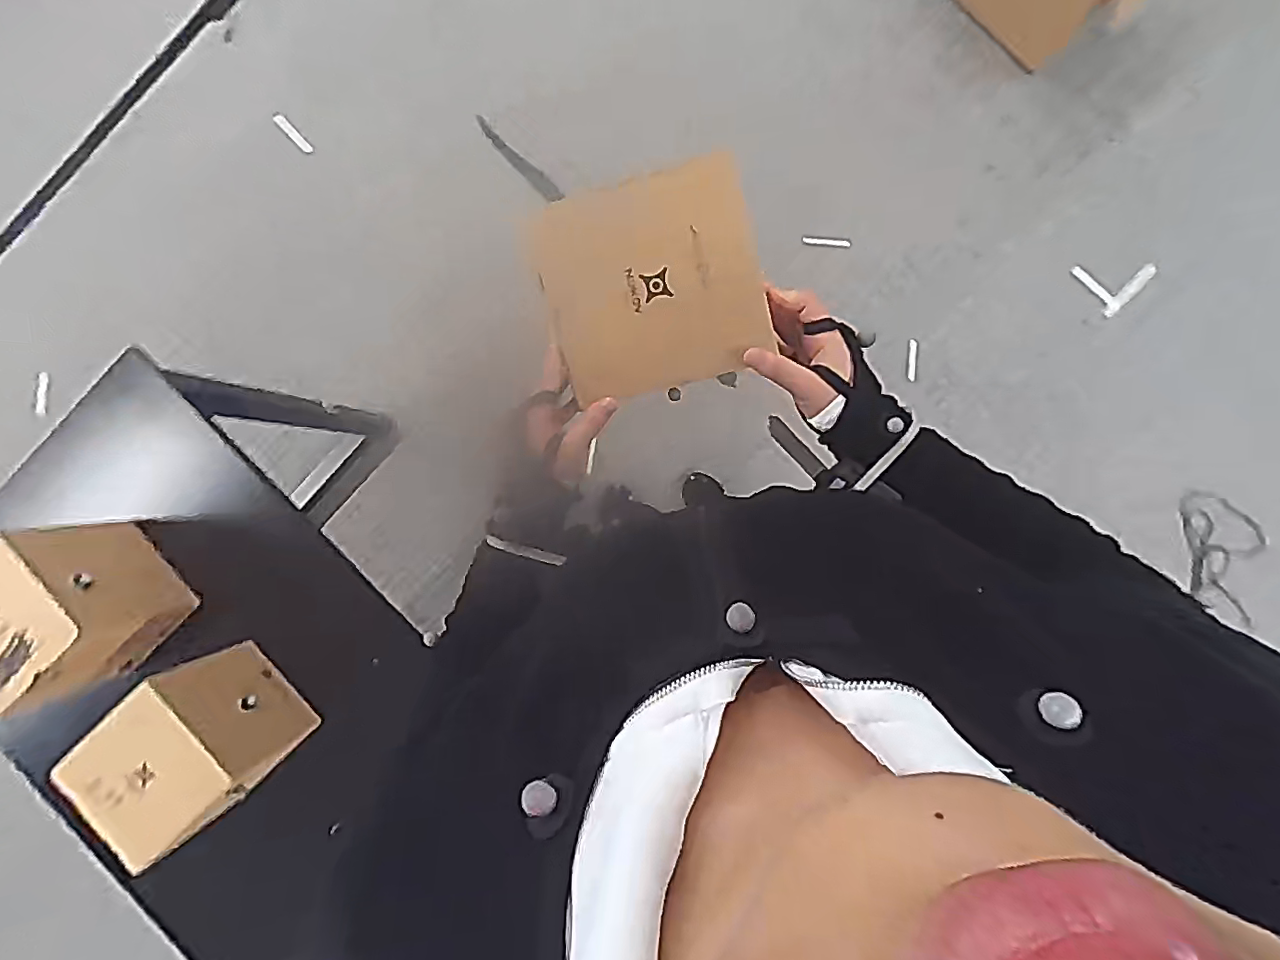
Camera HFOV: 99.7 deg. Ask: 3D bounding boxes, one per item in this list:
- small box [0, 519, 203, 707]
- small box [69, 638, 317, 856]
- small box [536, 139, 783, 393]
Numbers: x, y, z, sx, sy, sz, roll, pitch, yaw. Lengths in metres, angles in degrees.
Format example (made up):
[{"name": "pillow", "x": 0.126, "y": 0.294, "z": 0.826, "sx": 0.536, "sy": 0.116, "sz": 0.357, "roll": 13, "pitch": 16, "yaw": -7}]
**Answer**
[{"name": "small box", "x": -0.782, "y": 0.170, "z": 0.759, "sx": 0.168, "sy": 0.176, "sz": 0.179, "roll": -43, "pitch": 87, "yaw": 3}, {"name": "small box", "x": -0.592, "y": 0.349, "z": 0.748, "sx": 0.179, "sy": 0.176, "sz": 0.168, "roll": -43, "pitch": 87, "yaw": 3}, {"name": "small box", "x": 0.022, "y": -0.187, "z": 0.522, "sx": 0.179, "sy": 0.176, "sz": 0.168, "roll": -14, "pitch": 103, "yaw": 6}]
